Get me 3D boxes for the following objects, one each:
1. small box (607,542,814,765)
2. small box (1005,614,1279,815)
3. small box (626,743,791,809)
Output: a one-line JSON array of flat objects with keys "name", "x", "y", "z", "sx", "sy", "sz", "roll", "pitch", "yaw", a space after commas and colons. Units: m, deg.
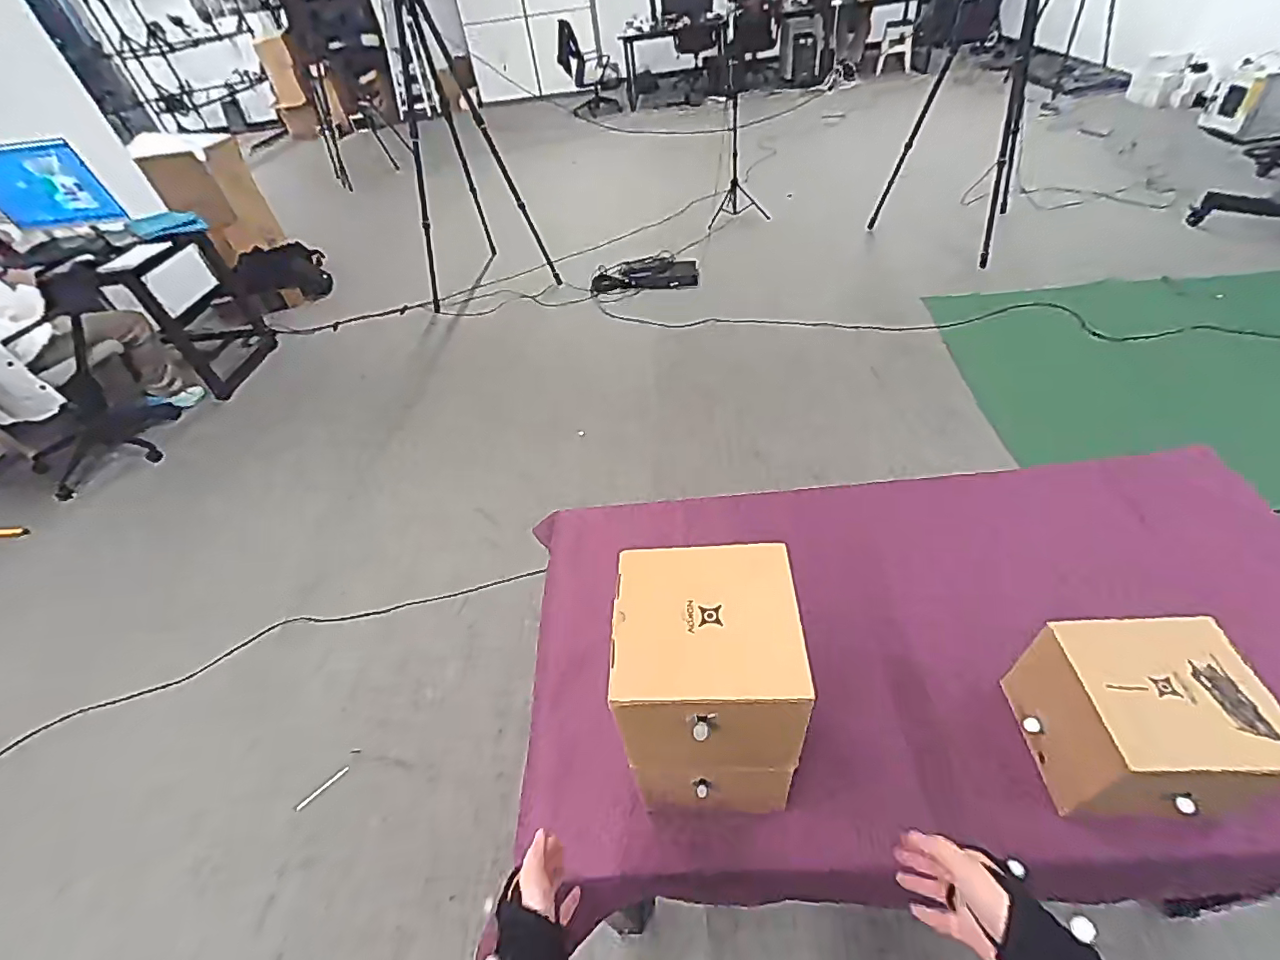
[{"name": "small box", "x": 0.071, "y": 0.183, "z": 0.564, "sx": 0.179, "sy": 0.176, "sz": 0.168, "roll": -4, "pitch": 45, "yaw": 7}, {"name": "small box", "x": 0.568, "y": 0.270, "z": 0.622, "sx": 0.179, "sy": 0.176, "sz": 0.168, "roll": -4, "pitch": 45, "yaw": 7}, {"name": "small box", "x": 0.086, "y": 0.298, "z": 0.678, "sx": 0.179, "sy": 0.176, "sz": 0.168, "roll": -3, "pitch": 46, "yaw": 7}]
